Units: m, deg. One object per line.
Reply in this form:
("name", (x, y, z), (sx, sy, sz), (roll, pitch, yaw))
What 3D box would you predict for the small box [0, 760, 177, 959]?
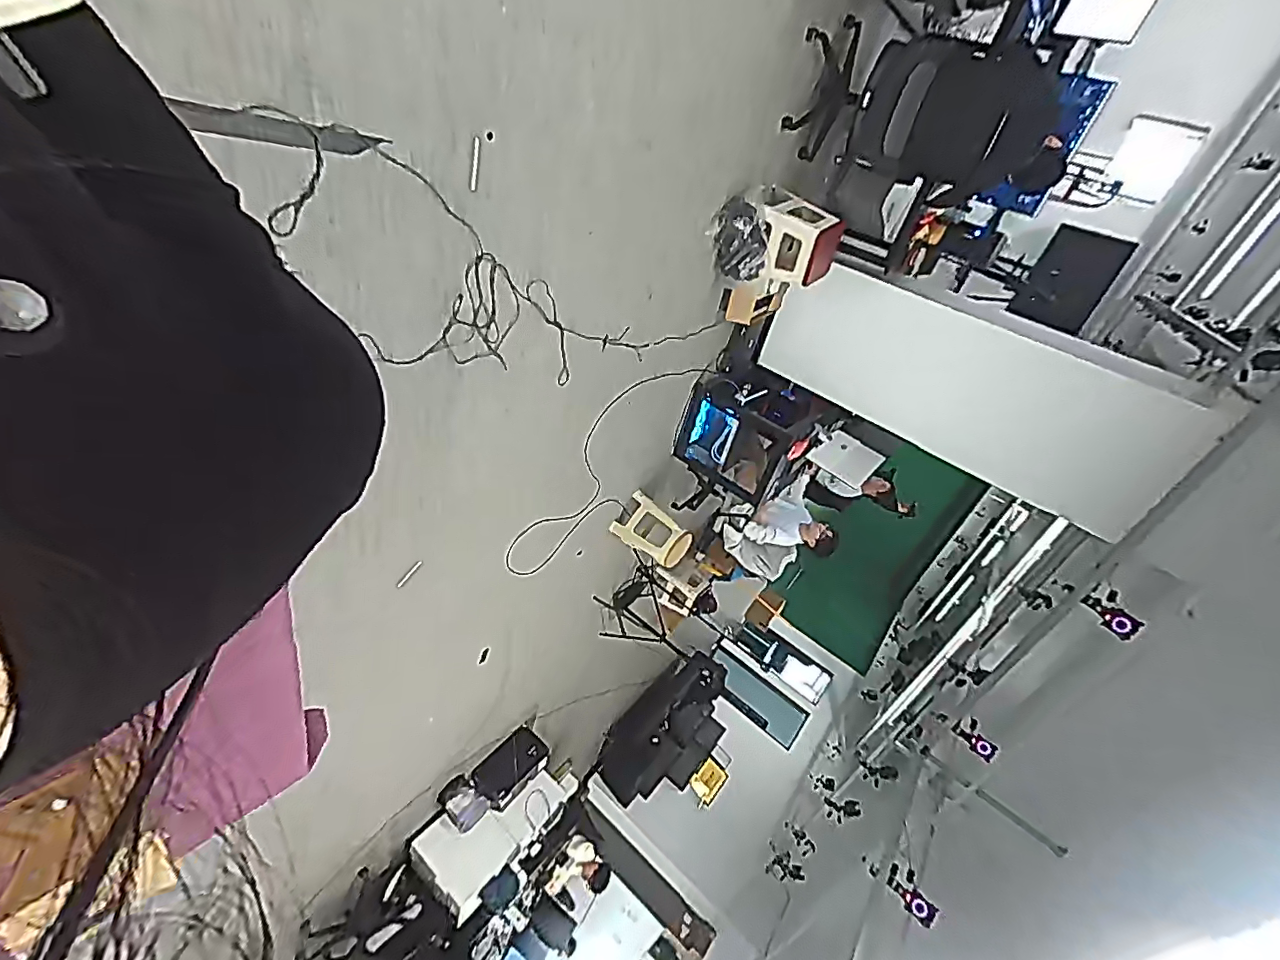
("small box", (-0.840, 0.568, 0.811), (0.168, 0.176, 0.179), (-25, 141, -49))
